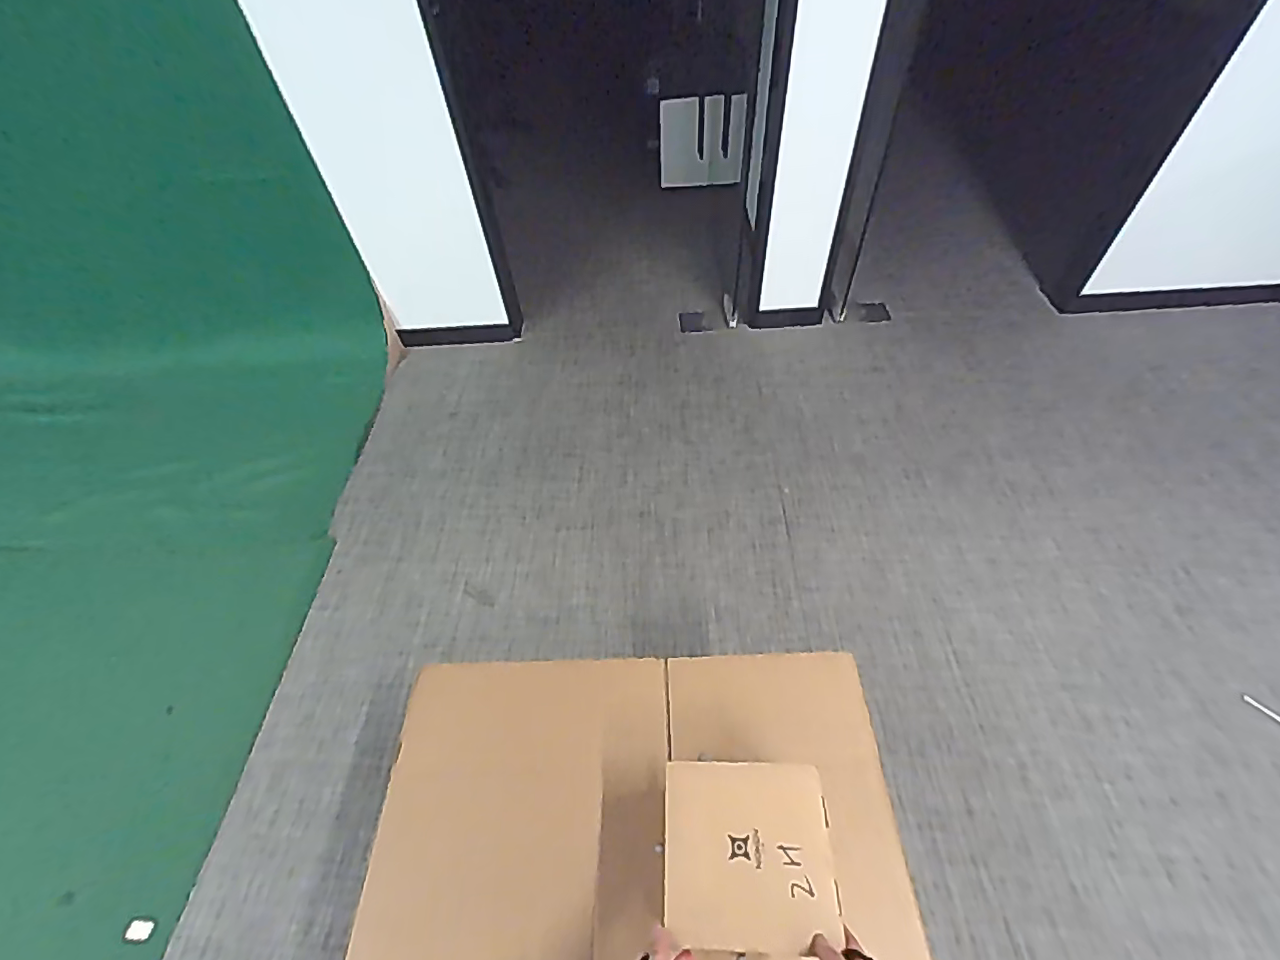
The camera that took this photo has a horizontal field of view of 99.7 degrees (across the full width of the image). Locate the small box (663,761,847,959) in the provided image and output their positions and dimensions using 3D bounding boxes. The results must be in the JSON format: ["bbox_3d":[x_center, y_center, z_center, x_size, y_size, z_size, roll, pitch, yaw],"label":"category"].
[{"bbox_3d":[0.121,0.436,0.623,0.179,0.176,0.168,-1,50,6],"label":"small box"}]
